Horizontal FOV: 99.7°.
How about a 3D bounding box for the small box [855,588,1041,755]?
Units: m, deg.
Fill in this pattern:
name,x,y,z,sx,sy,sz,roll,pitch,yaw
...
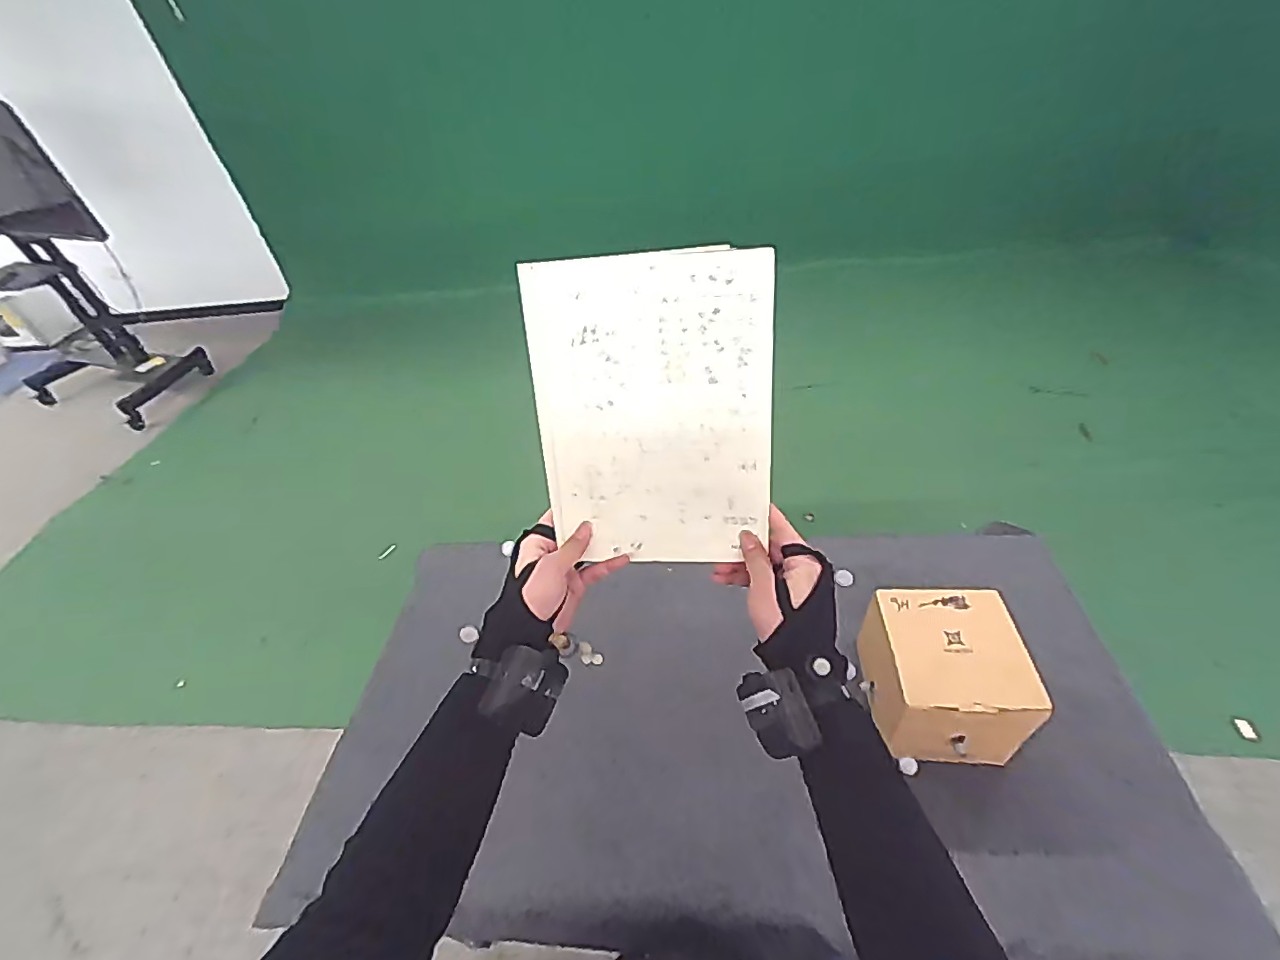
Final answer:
name,x,y,z,sx,sy,sz,roll,pitch,yaw
small box,0.417,0.274,0.770,0.168,0.176,0.179,-1,45,8
